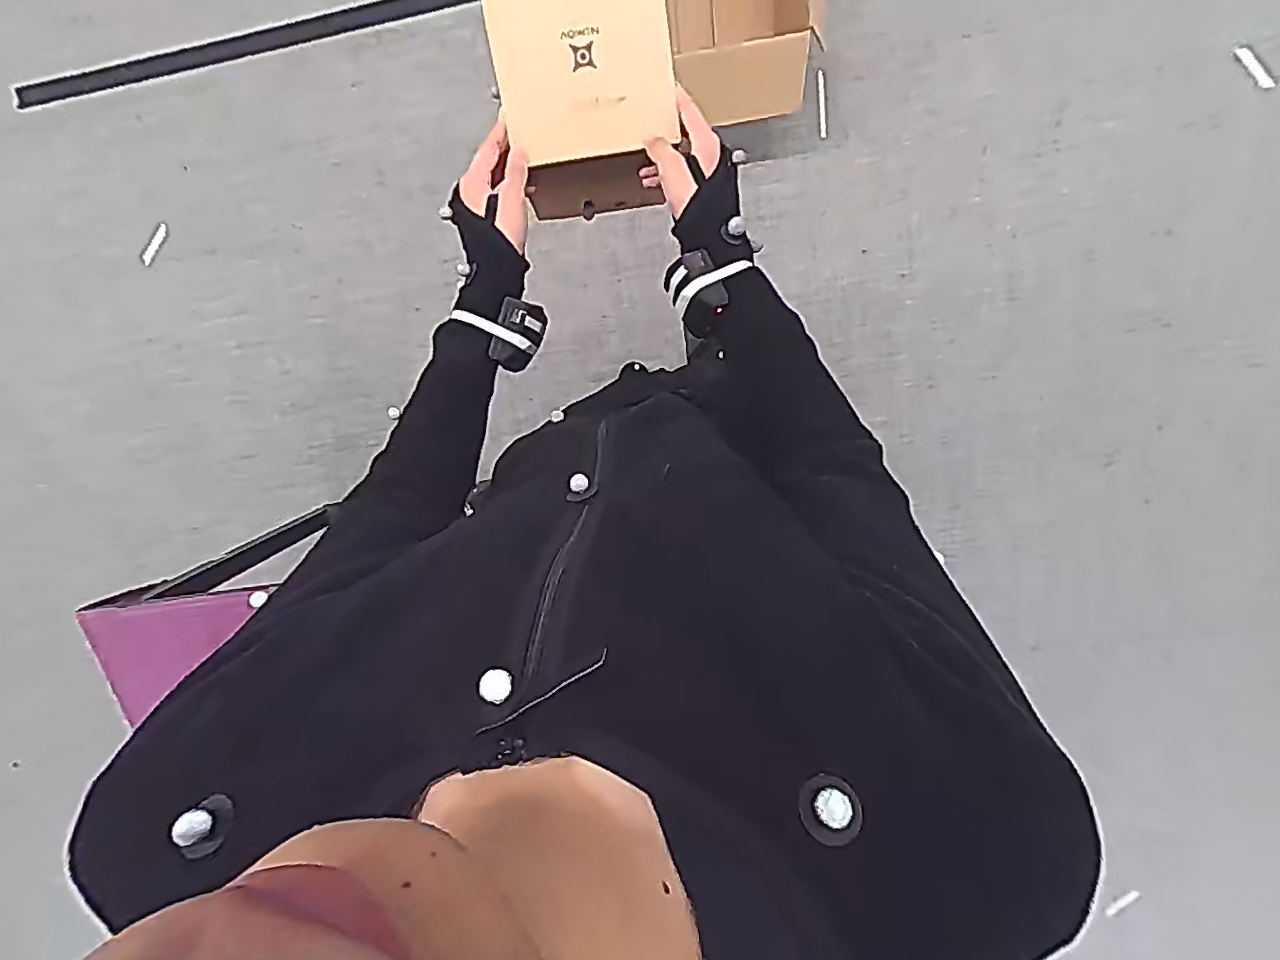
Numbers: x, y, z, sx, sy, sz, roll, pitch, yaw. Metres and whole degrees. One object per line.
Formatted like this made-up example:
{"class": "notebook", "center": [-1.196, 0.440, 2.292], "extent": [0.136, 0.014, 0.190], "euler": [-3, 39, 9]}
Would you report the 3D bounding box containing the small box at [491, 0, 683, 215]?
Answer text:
{"class": "small box", "center": [-0.054, -0.415, 0.585], "extent": [0.168, 0.176, 0.179], "euler": [-9, 99, -1]}
